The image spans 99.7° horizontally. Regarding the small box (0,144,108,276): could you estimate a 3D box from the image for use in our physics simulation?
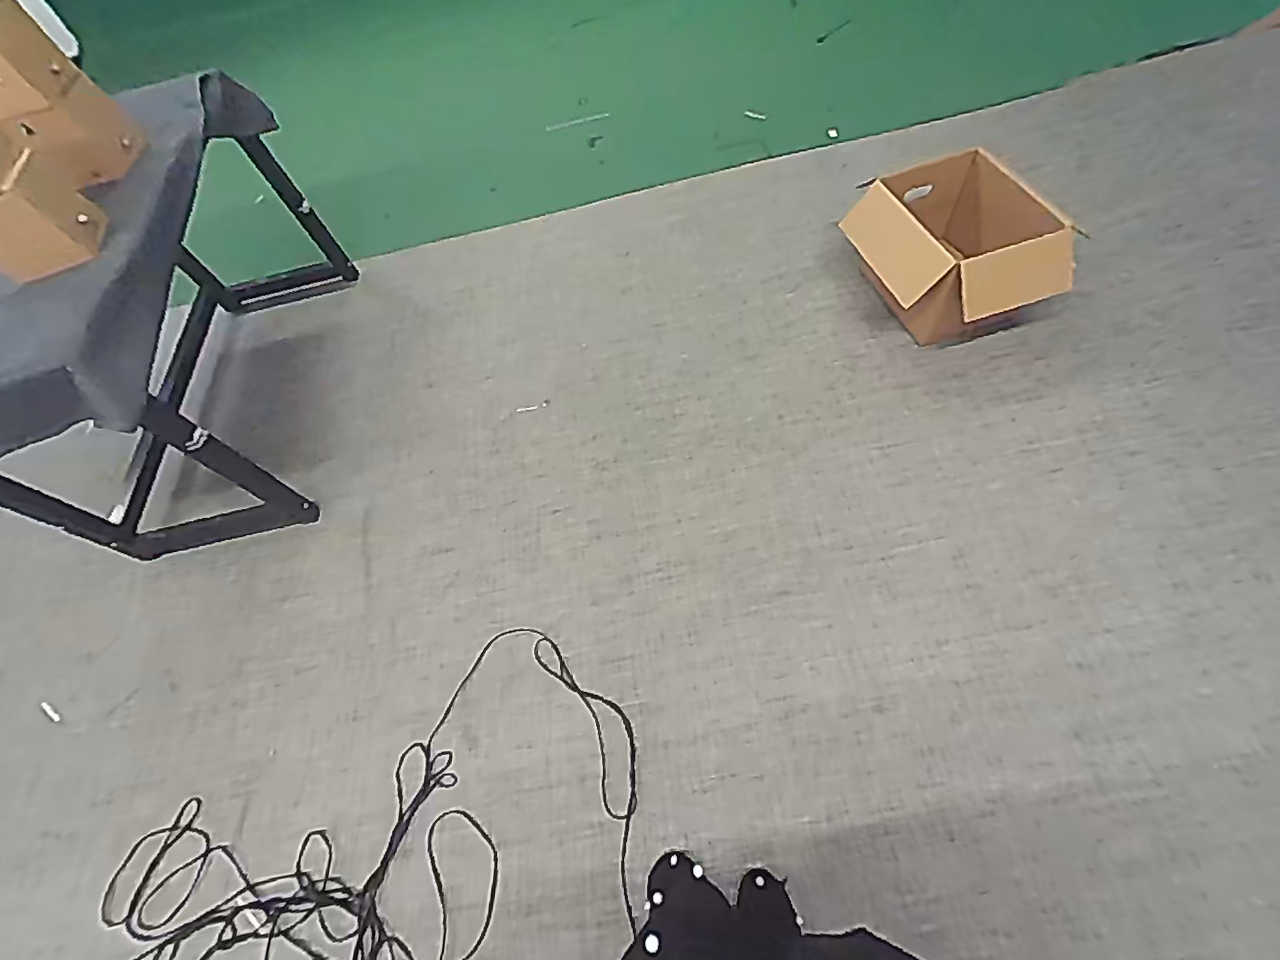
[{"bbox_3d":[-1.309,-0.566,1.150,0.179,0.176,0.168,-20,59,-3],"label":"small box"}]

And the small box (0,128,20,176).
[{"bbox_3d":[-1.349,-0.645,1.013,0.168,0.176,0.179,-17,58,-1],"label":"small box"}]

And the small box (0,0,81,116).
[{"bbox_3d":[-1.423,-0.946,1.191,0.168,0.176,0.179,-11,60,4],"label":"small box"}]

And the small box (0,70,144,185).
[{"bbox_3d":[-1.395,-0.867,1.336,0.168,0.176,0.179,-12,59,3],"label":"small box"}]
